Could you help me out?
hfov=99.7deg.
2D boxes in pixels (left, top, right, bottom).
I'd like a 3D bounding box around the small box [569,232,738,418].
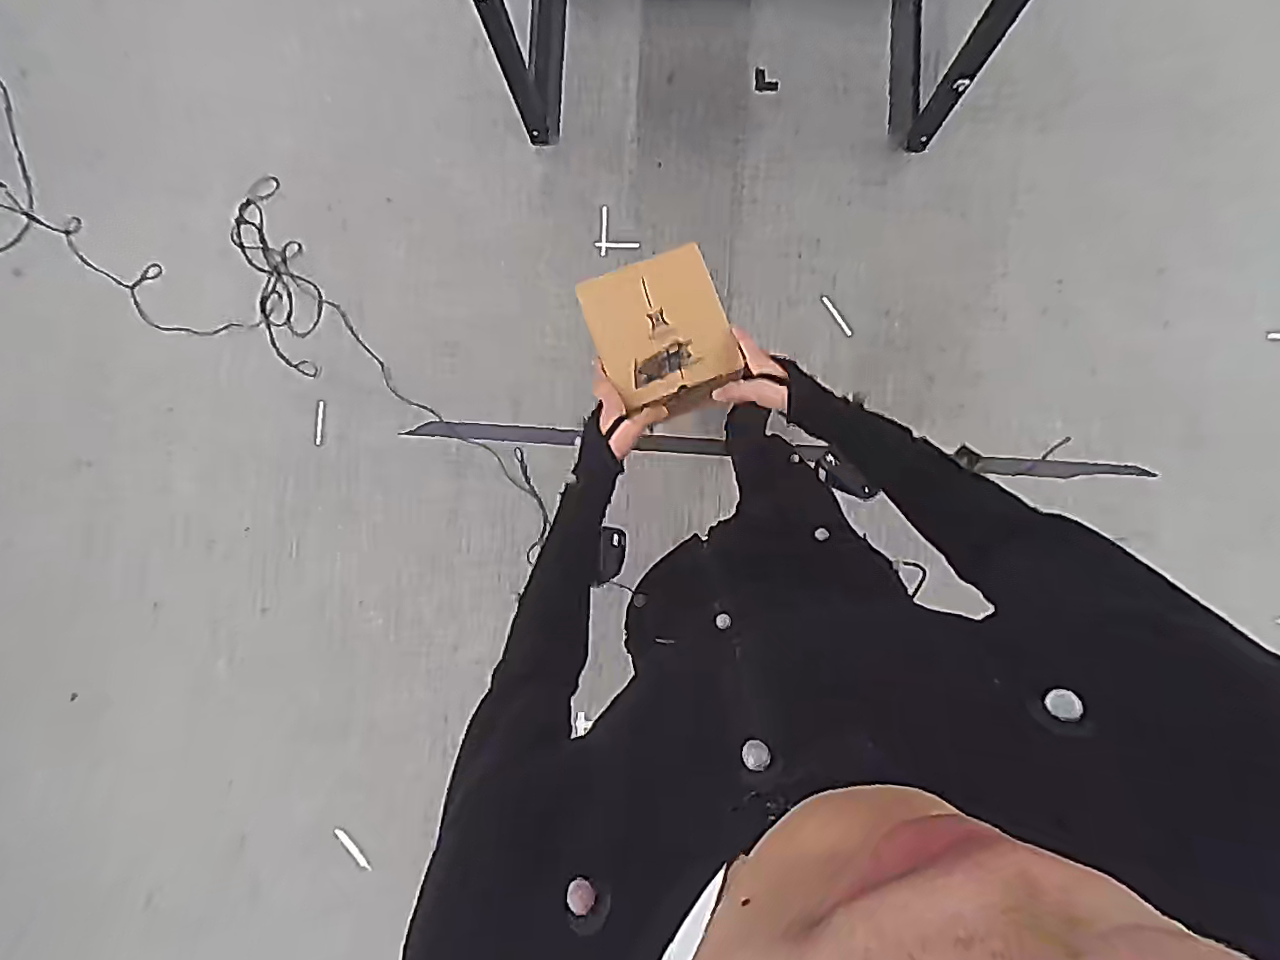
[{"bbox_3d":[0.019,-0.194,0.740,0.168,0.176,0.179,-21,85,0],"label":"small box"}]
